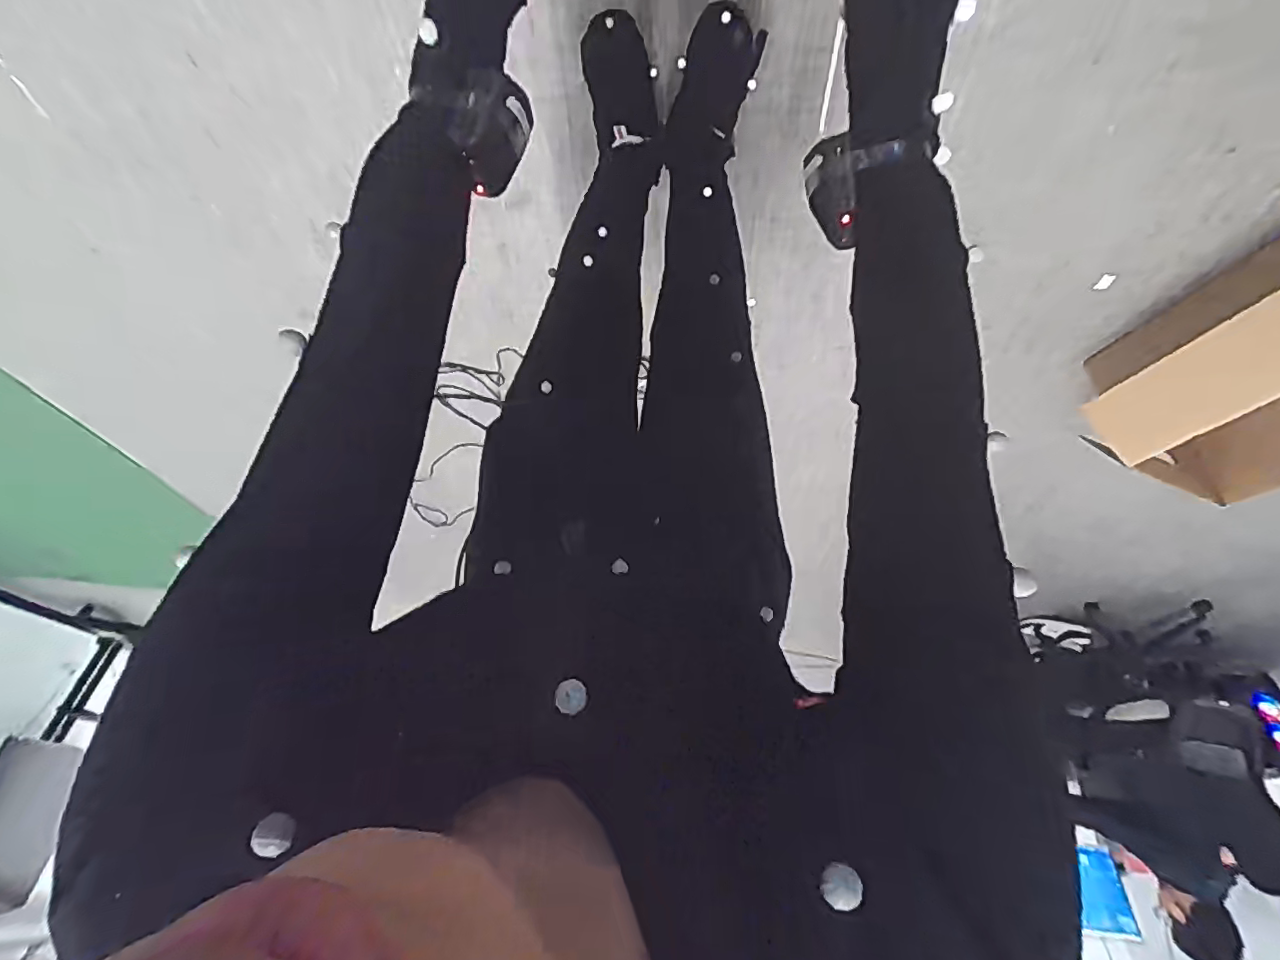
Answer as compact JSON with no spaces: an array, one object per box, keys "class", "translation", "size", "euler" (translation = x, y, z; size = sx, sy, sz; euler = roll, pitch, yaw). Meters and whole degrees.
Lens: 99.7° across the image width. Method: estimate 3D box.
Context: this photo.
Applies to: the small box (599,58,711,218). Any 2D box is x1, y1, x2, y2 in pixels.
[{"class":"small box","translation":[0.016,-0.591,0.944],"size":[0.168,0.176,0.179],"euler":[-1,150,-8]}]
